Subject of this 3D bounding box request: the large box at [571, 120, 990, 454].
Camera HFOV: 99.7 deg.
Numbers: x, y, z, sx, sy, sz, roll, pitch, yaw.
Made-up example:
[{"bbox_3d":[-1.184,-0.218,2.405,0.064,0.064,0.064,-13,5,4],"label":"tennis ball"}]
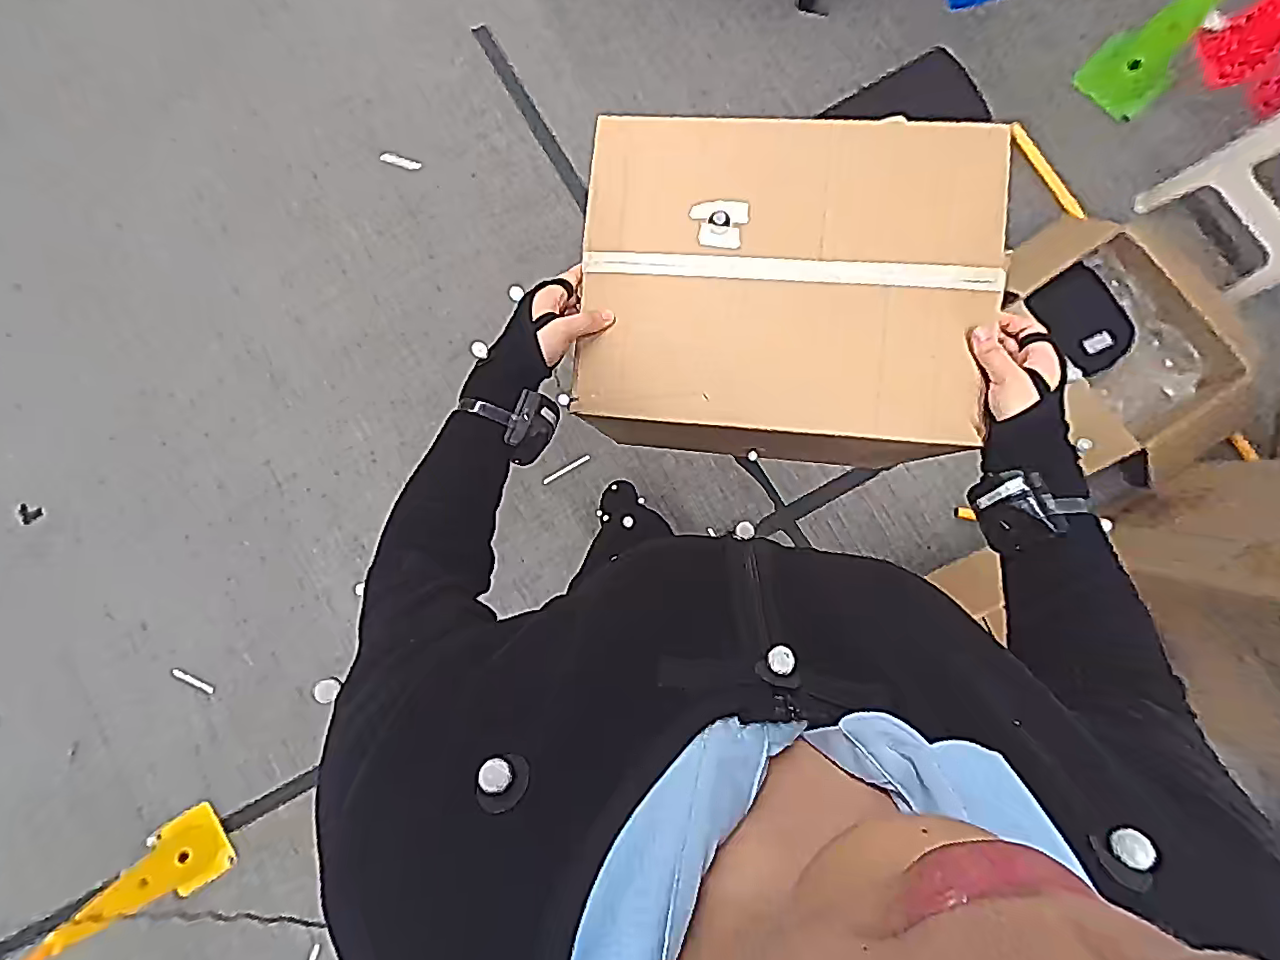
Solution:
[{"bbox_3d":[0.154,-0.204,0.692,0.408,0.320,0.320,5,88,8],"label":"large box"}]
